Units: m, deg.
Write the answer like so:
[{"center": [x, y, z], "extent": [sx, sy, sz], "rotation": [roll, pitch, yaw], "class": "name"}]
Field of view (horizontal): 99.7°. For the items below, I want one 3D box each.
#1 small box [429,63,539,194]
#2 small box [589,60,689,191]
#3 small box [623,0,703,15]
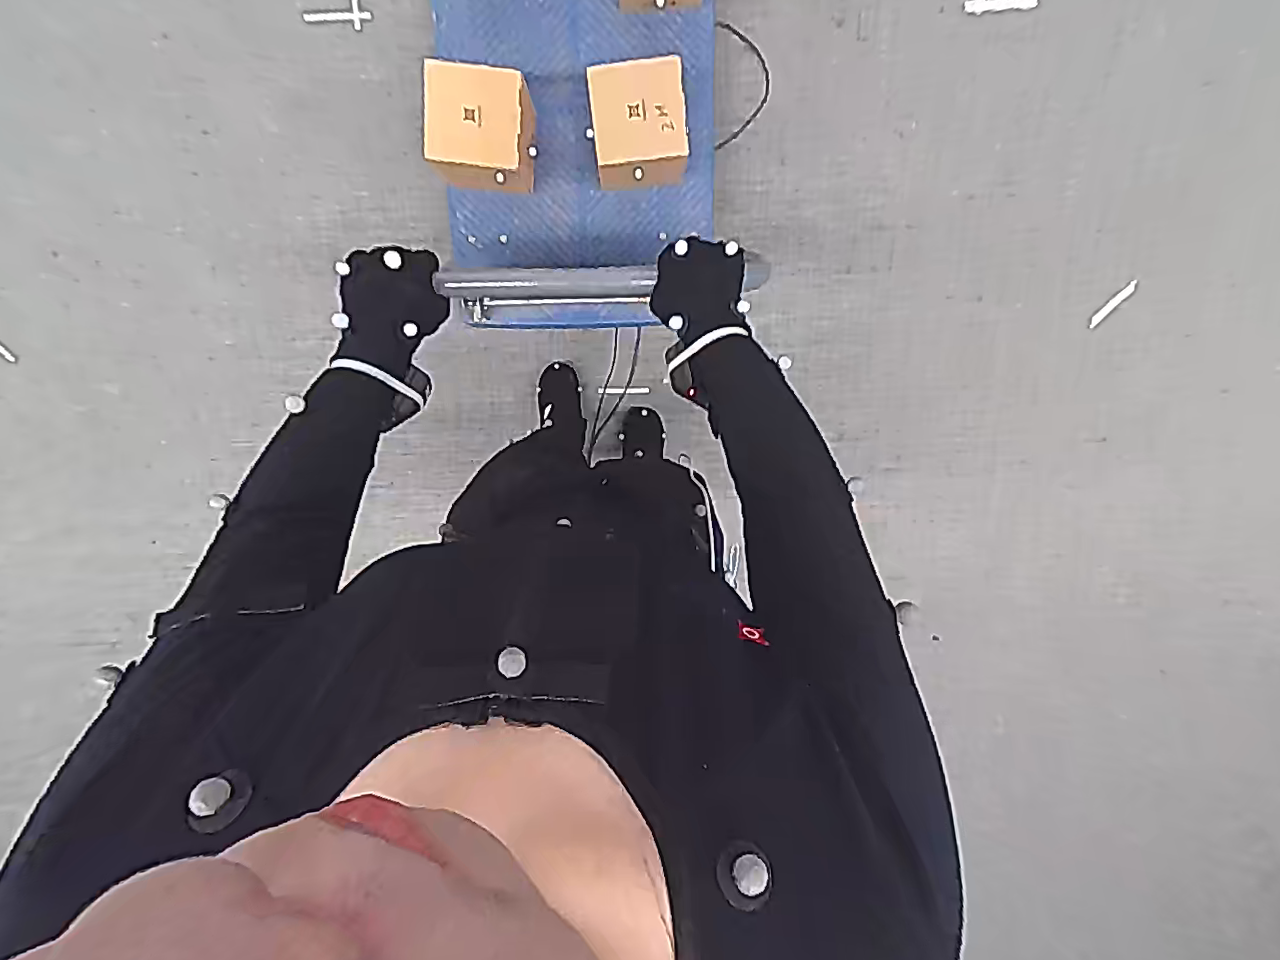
[{"center": [-0.306, -0.689, 1.080], "extent": [0.179, 0.176, 0.168], "rotation": [4, 102, -4], "class": "small box"}, {"center": [-0.001, -0.698, 1.085], "extent": [0.179, 0.176, 0.168], "rotation": [-7, 103, 0], "class": "small box"}, {"center": [0.044, -1.026, 1.013], "extent": [0.168, 0.176, 0.179], "rotation": [-5, 104, 0], "class": "small box"}]
